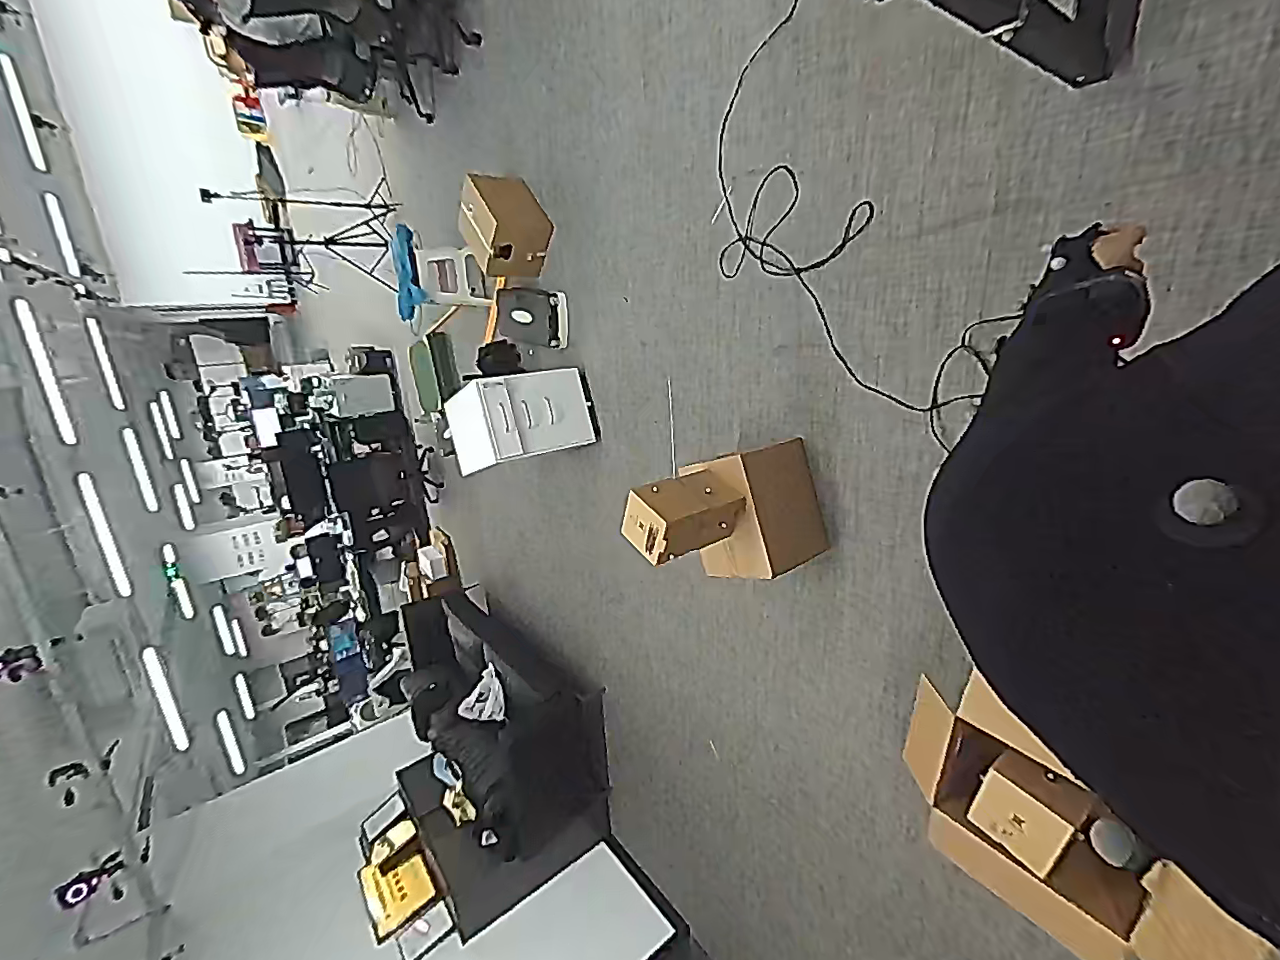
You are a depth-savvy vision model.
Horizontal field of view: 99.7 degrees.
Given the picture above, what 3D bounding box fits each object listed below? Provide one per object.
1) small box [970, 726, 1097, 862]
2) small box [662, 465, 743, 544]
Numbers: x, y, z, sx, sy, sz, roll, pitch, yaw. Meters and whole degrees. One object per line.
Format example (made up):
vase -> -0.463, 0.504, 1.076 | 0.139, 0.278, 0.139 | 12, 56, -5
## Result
small box -> 0.903, 0.707, 1.239 | 0.168, 0.176, 0.179 | 33, 128, 47
small box -> 0.200, 0.071, 1.728 | 0.179, 0.176, 0.168 | 40, 132, 35
